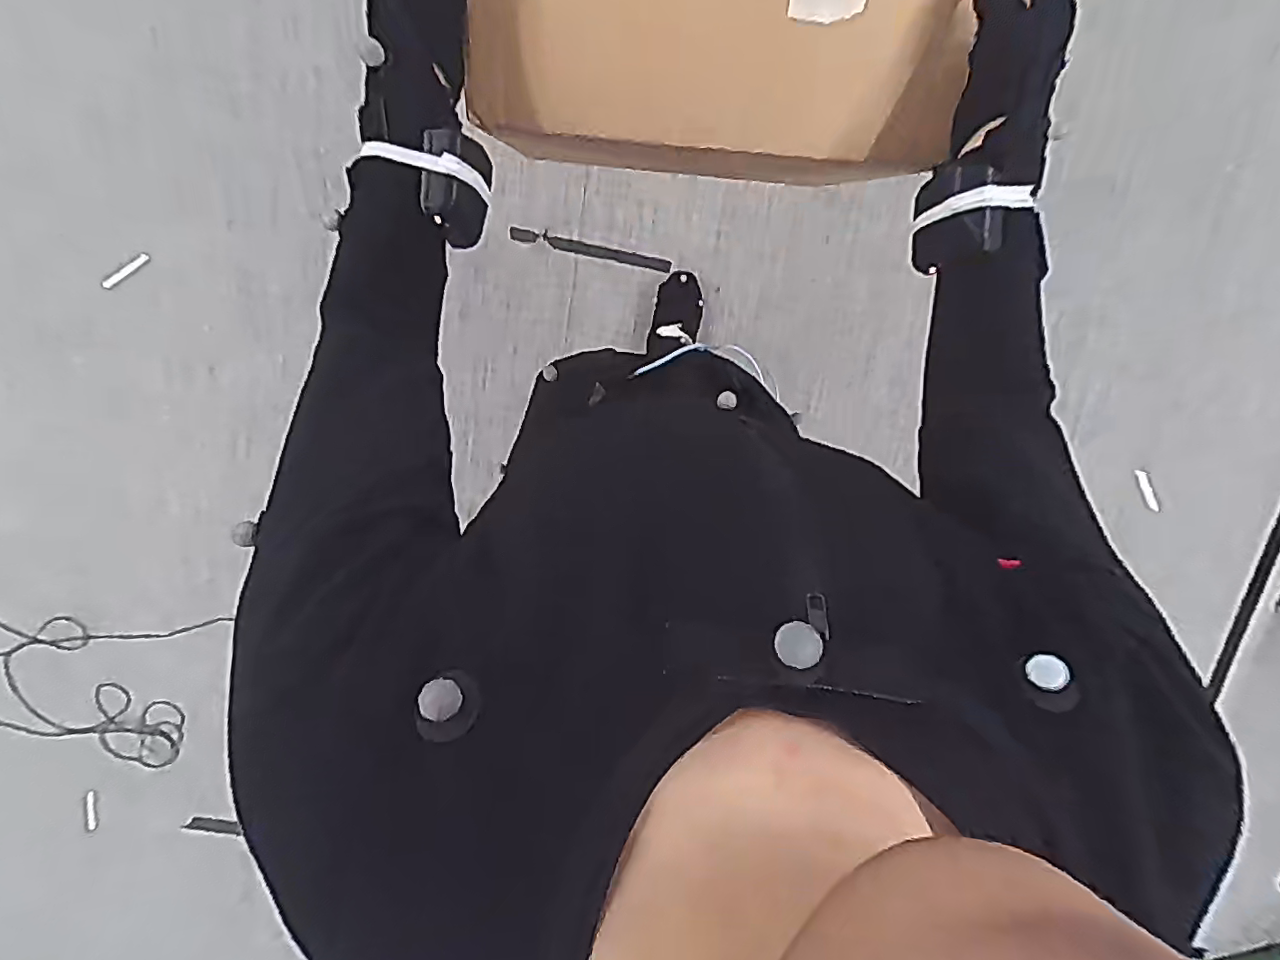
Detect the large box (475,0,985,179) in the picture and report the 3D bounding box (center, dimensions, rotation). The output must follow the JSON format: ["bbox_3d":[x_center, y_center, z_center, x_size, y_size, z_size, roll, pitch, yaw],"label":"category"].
[{"bbox_3d":[0.067,-0.489,0.522,0.408,0.320,0.320,3,116,-5],"label":"large box"}]
